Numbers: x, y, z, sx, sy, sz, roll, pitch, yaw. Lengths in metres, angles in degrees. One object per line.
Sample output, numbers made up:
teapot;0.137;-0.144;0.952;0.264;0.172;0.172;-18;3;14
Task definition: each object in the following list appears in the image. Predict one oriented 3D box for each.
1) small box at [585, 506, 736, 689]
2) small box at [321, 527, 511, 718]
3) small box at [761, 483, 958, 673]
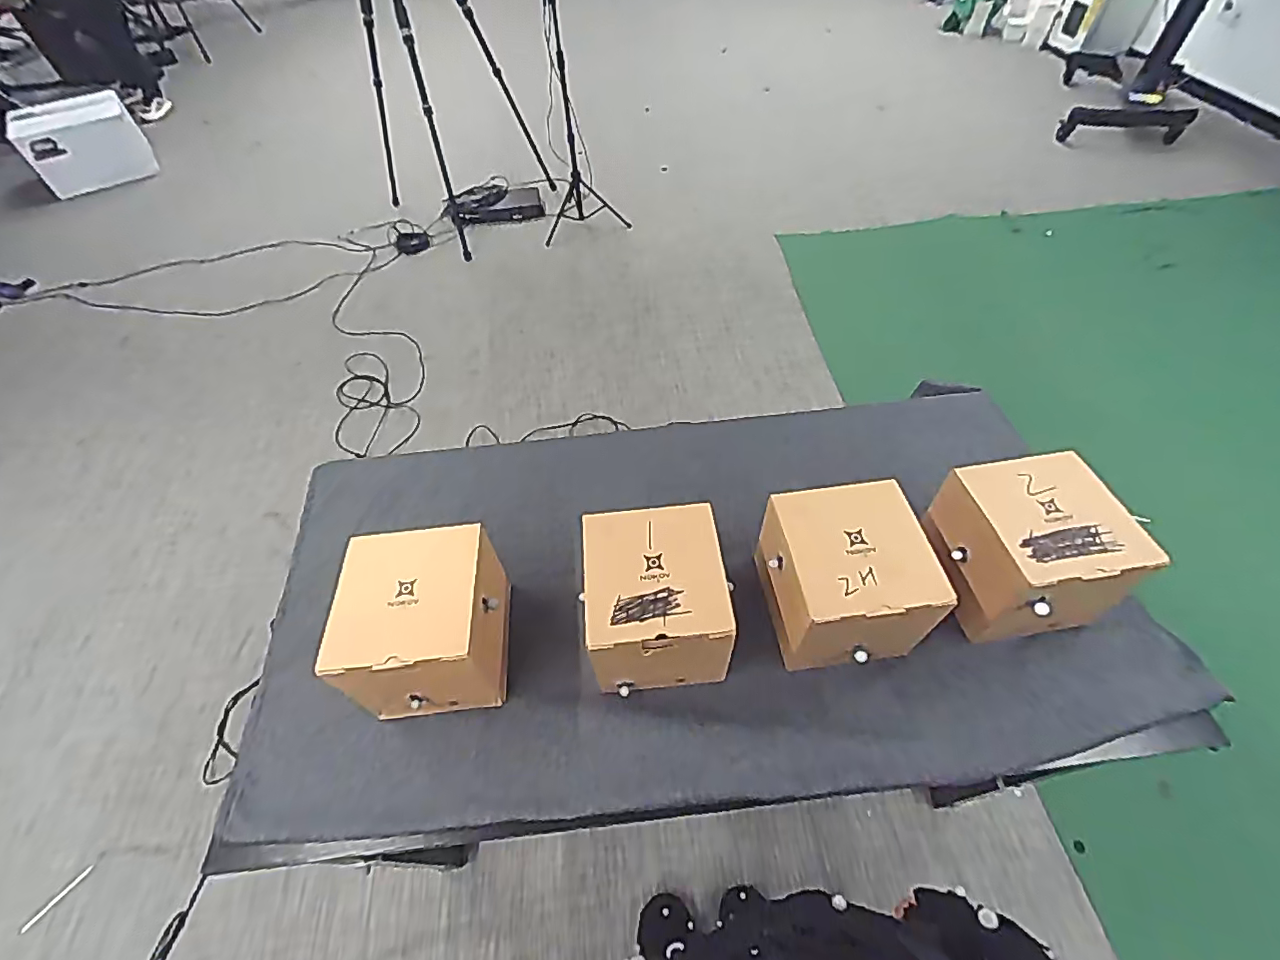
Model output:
small box;0.022;0.157;0.695;0.168;0.176;0.179;-5;52;-1
small box;-0.265;0.183;0.690;0.168;0.176;0.179;-6;52;-2
small box;0.263;0.129;0.702;0.168;0.176;0.179;-8;52;-1
